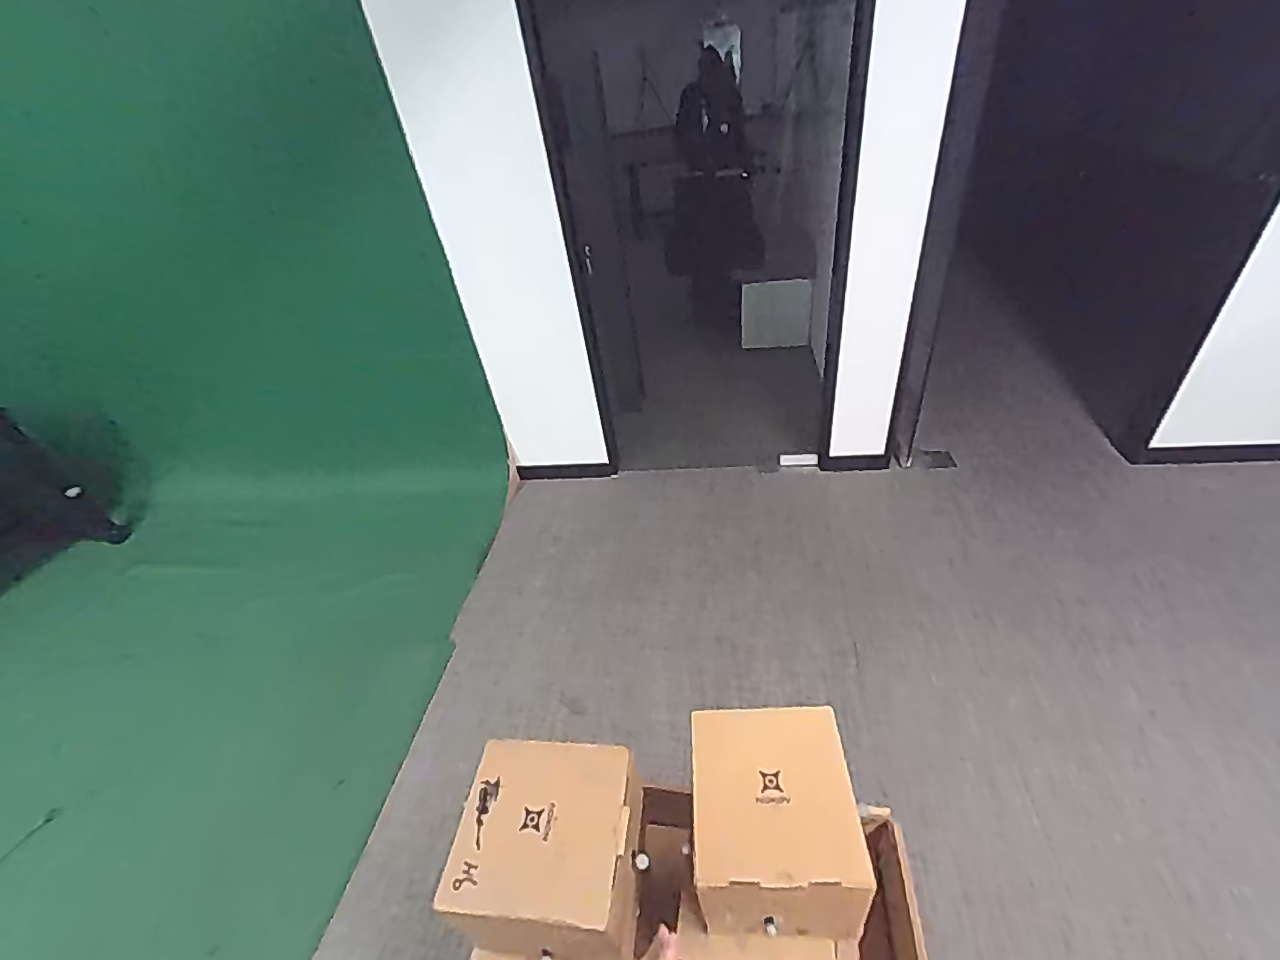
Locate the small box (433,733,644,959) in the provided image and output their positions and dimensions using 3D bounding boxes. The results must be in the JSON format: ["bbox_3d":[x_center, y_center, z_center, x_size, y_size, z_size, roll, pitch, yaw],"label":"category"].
[{"bbox_3d":[-0.093,0.411,0.607,0.179,0.176,0.168,-1,37,9],"label":"small box"}]

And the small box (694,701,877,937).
[{"bbox_3d":[0.148,0.375,0.607,0.168,0.176,0.179,-5,37,7],"label":"small box"}]
